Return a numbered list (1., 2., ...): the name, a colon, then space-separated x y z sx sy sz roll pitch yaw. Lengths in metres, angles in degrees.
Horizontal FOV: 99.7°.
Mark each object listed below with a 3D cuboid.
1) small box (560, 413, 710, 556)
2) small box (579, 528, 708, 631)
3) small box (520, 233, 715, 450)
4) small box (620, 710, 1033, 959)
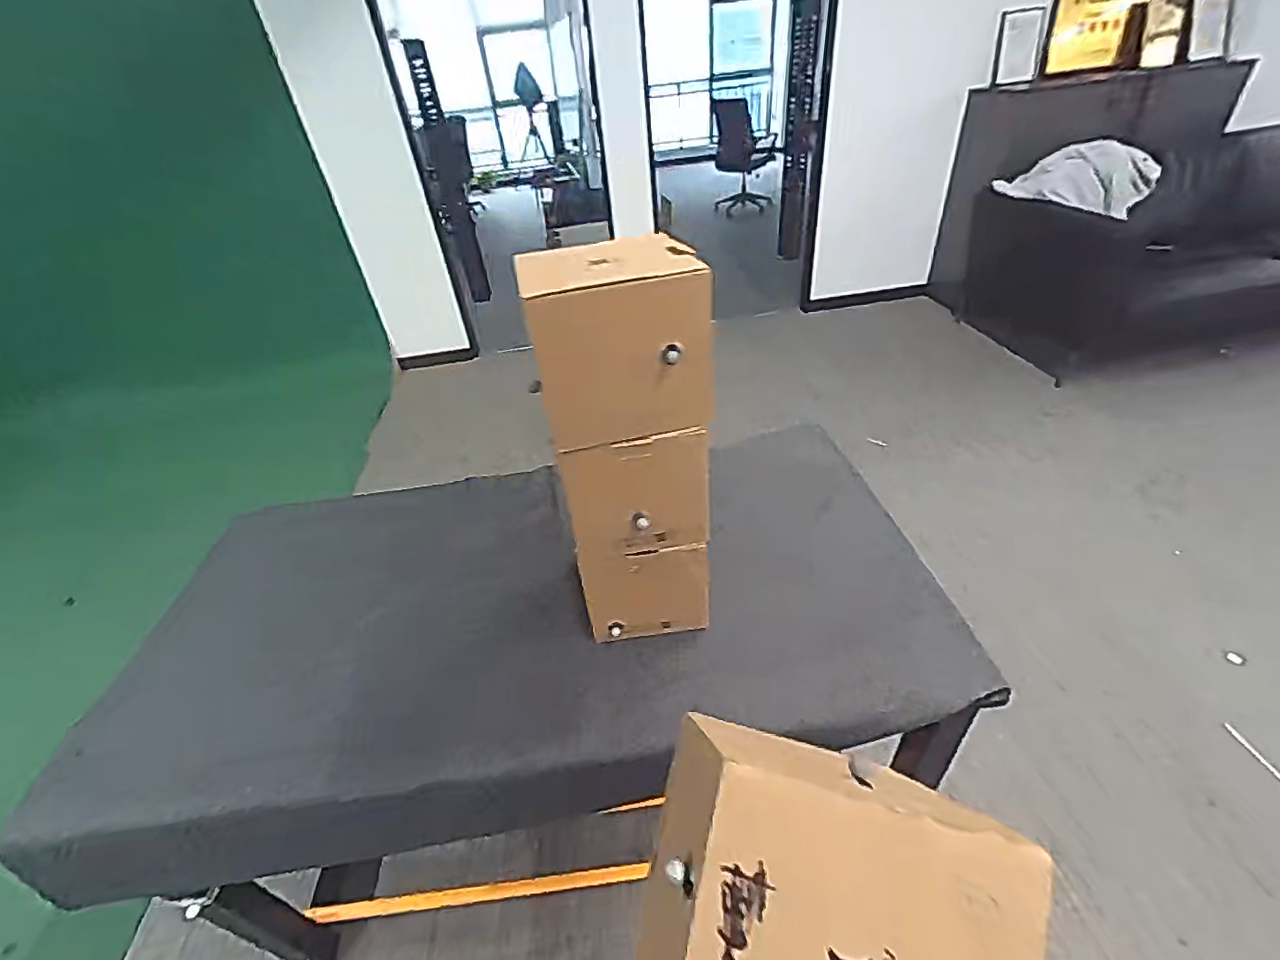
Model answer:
1. small box: -0.009 -0.029 0.696 0.168 0.176 0.179 -9 37 -2
2. small box: 0.005 0.104 0.793 0.168 0.176 0.179 -7 36 -1
3. small box: -0.025 -0.155 0.595 0.179 0.176 0.168 -13 36 -7
4. small box: 0.093 0.256 0.335 0.179 0.176 0.168 16 75 0
